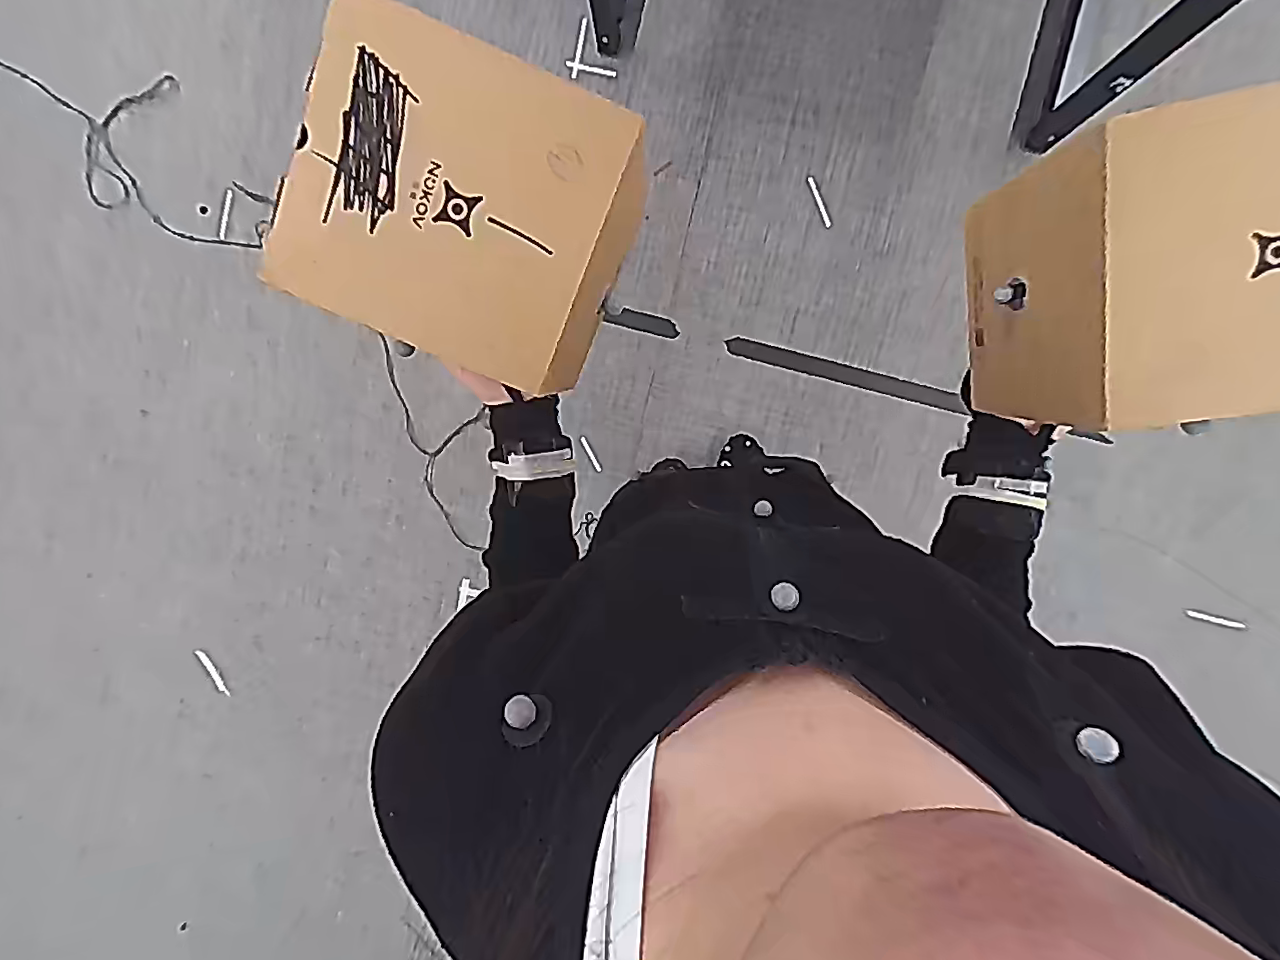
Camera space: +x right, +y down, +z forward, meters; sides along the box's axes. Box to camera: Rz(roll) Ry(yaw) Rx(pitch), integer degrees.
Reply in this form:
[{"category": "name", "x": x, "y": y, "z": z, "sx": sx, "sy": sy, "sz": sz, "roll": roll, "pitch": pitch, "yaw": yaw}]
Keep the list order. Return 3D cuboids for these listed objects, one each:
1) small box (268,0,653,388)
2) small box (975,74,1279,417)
[{"category": "small box", "x": -0.103, "y": -0.174, "z": 0.379, "sx": 0.179, "sy": 0.176, "sz": 0.168, "roll": 22, "pitch": 101, "yaw": -5}, {"category": "small box", "x": 0.346, "y": -0.138, "z": 0.357, "sx": 0.179, "sy": 0.176, "sz": 0.168, "roll": -7, "pitch": 101, "yaw": 9}]
